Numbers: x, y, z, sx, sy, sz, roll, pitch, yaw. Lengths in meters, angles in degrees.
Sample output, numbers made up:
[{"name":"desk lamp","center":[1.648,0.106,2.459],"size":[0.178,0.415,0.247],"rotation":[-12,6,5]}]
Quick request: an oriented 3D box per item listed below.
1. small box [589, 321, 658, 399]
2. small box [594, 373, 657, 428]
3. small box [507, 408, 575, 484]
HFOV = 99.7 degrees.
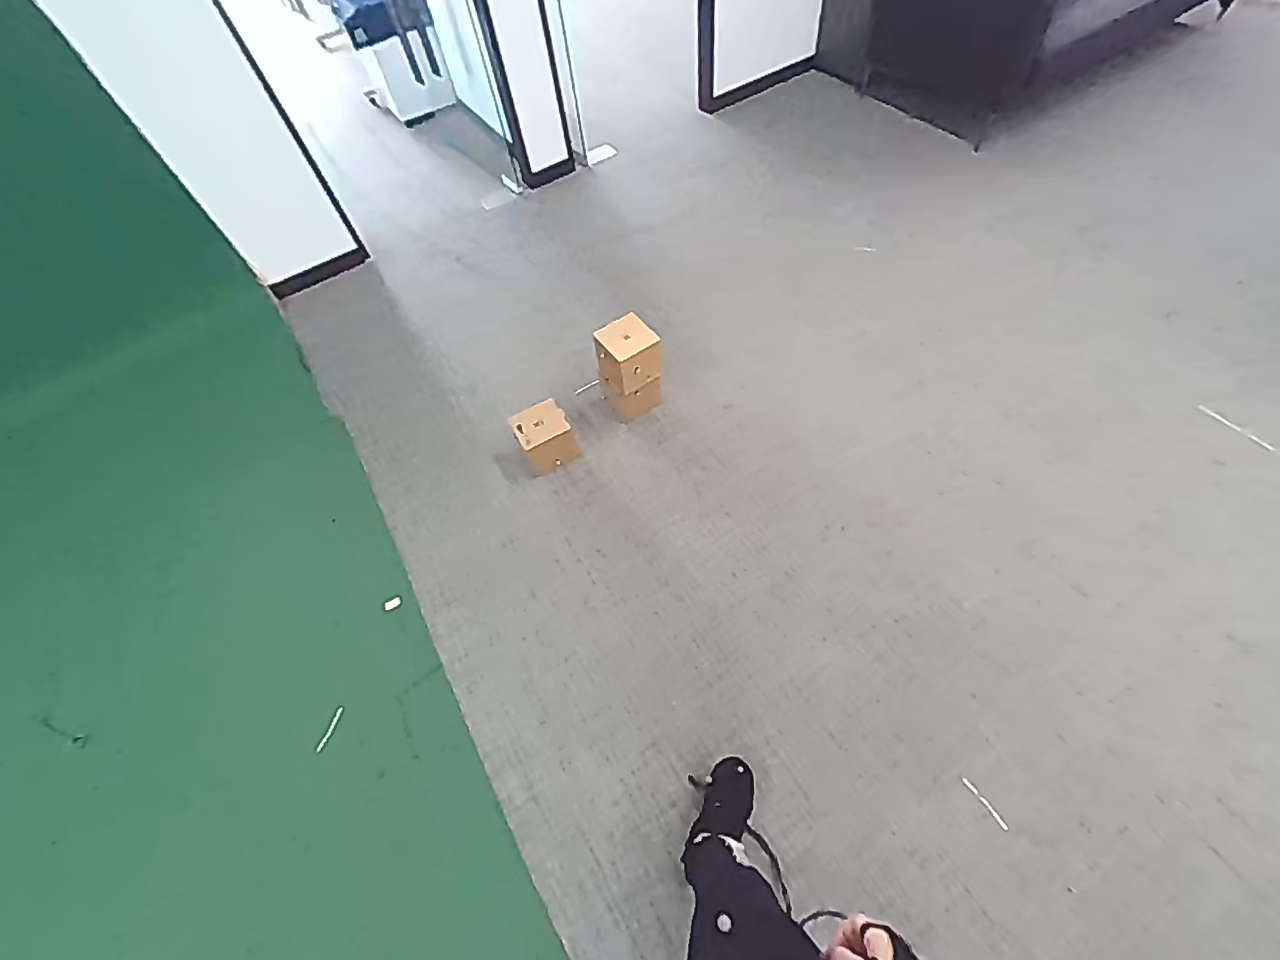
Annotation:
[{"name":"small box","center":[-0.050,-0.404,1.863],"size":[0.168,0.176,0.179],"rotation":[-33,59,-14]},{"name":"small box","center":[-0.047,-0.324,2.005],"size":[0.179,0.176,0.168],"rotation":[-29,59,-13]},{"name":"small box","center":[-0.342,-0.117,1.904],"size":[0.179,0.176,0.168],"rotation":[-28,58,-12]}]
